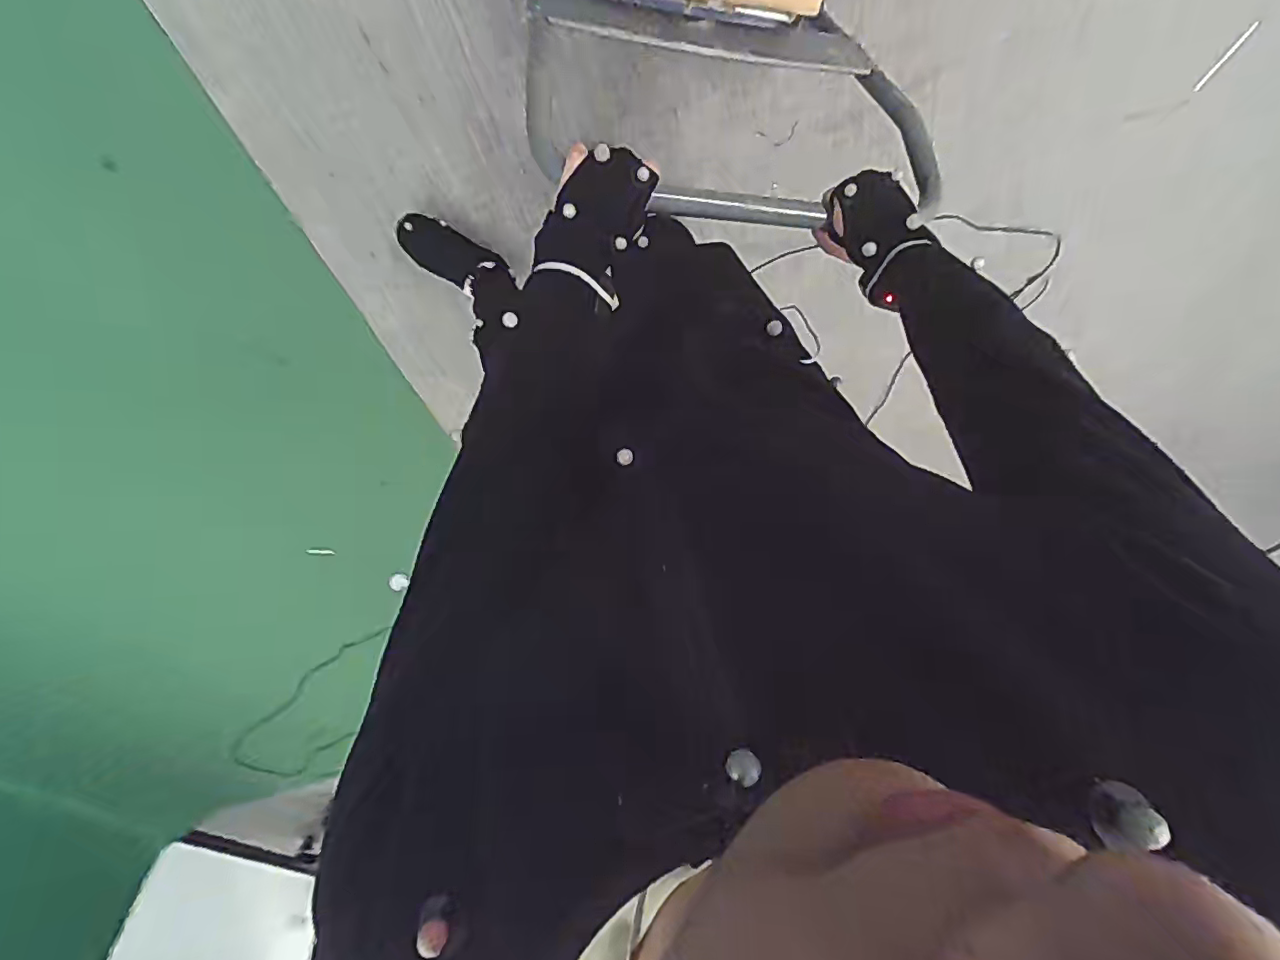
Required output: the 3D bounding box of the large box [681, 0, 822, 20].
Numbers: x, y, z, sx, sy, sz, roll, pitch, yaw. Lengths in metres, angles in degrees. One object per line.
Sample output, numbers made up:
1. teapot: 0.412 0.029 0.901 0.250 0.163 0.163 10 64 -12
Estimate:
1. large box: 0.114 -0.901 0.699 0.320 0.320 0.408 0 140 -11
